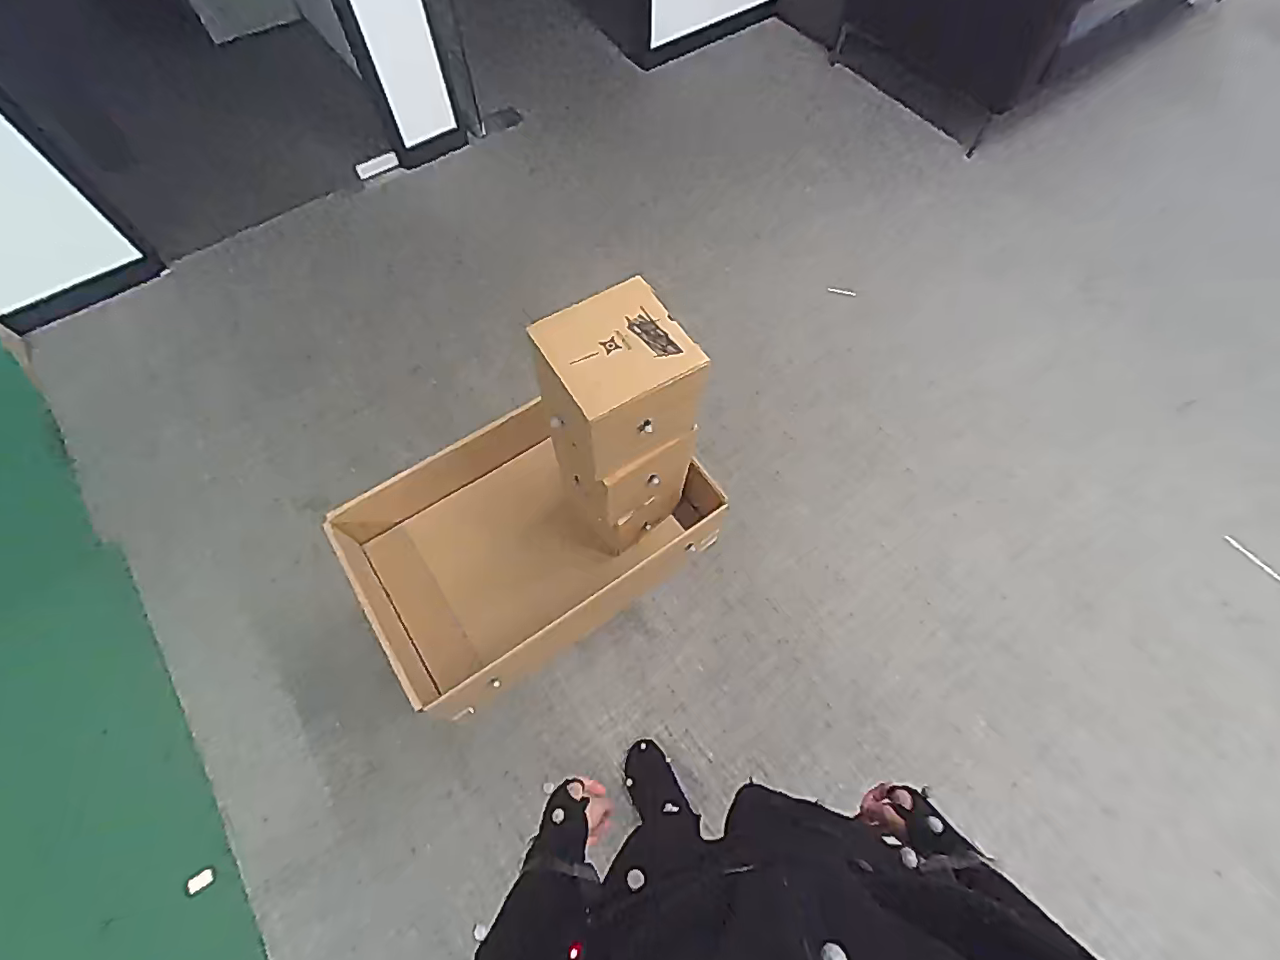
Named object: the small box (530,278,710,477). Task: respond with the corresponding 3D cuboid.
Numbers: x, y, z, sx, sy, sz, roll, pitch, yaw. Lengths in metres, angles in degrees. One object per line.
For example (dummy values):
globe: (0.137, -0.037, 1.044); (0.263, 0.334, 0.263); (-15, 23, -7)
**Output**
small box: (-0.029, -0.134, 0.746); (0.179, 0.176, 0.168); (-29, 69, -14)
